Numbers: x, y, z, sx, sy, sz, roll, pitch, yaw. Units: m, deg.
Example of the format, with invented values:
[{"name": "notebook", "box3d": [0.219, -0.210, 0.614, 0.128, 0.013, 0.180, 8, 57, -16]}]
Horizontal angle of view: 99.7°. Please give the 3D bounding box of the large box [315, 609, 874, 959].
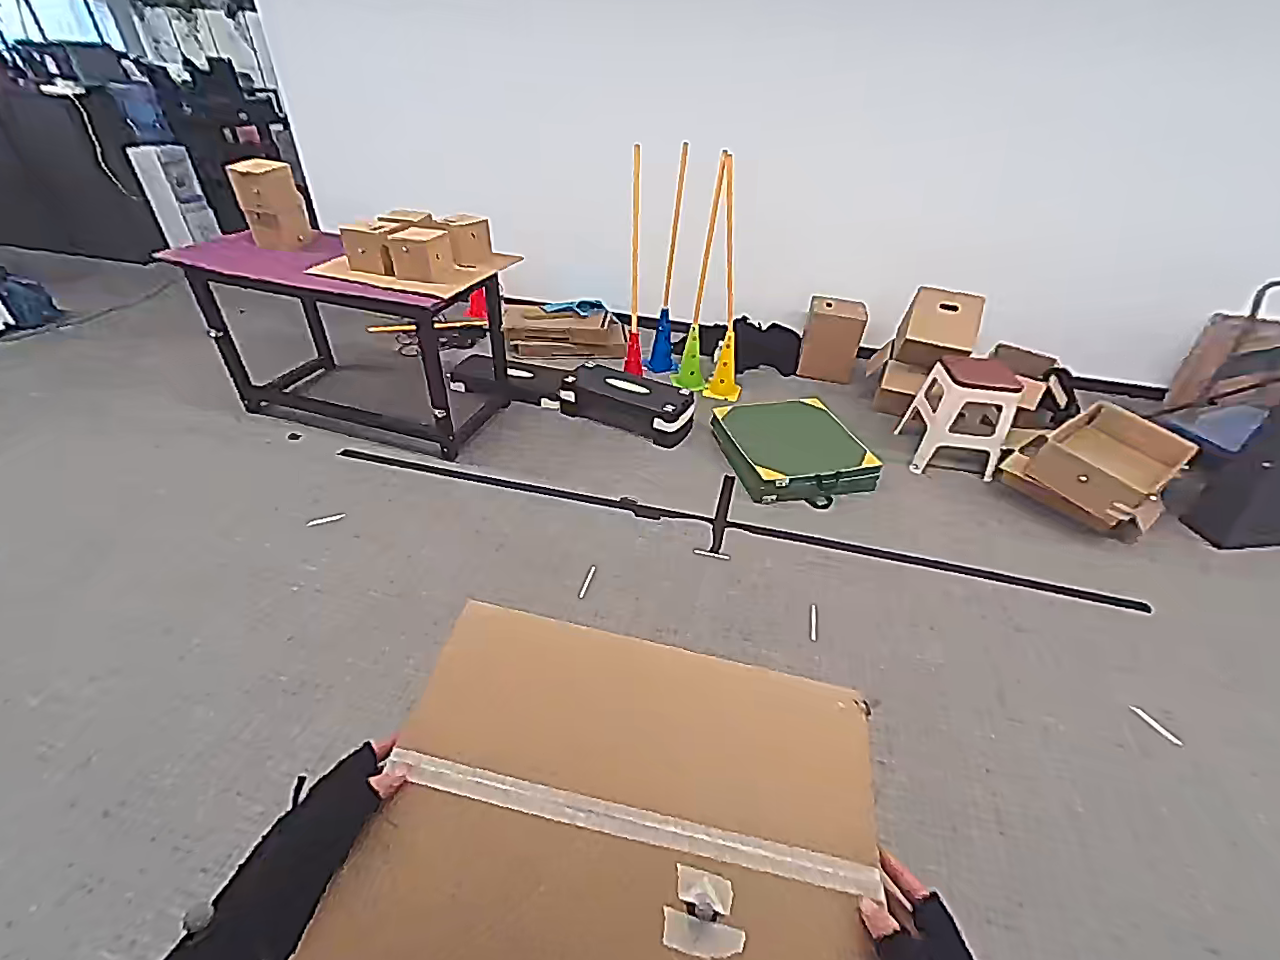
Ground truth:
[{"name": "large box", "box3d": [-0.025, 0.378, 0.559, 0.408, 0.320, 0.320, 12, 47, 3]}]
